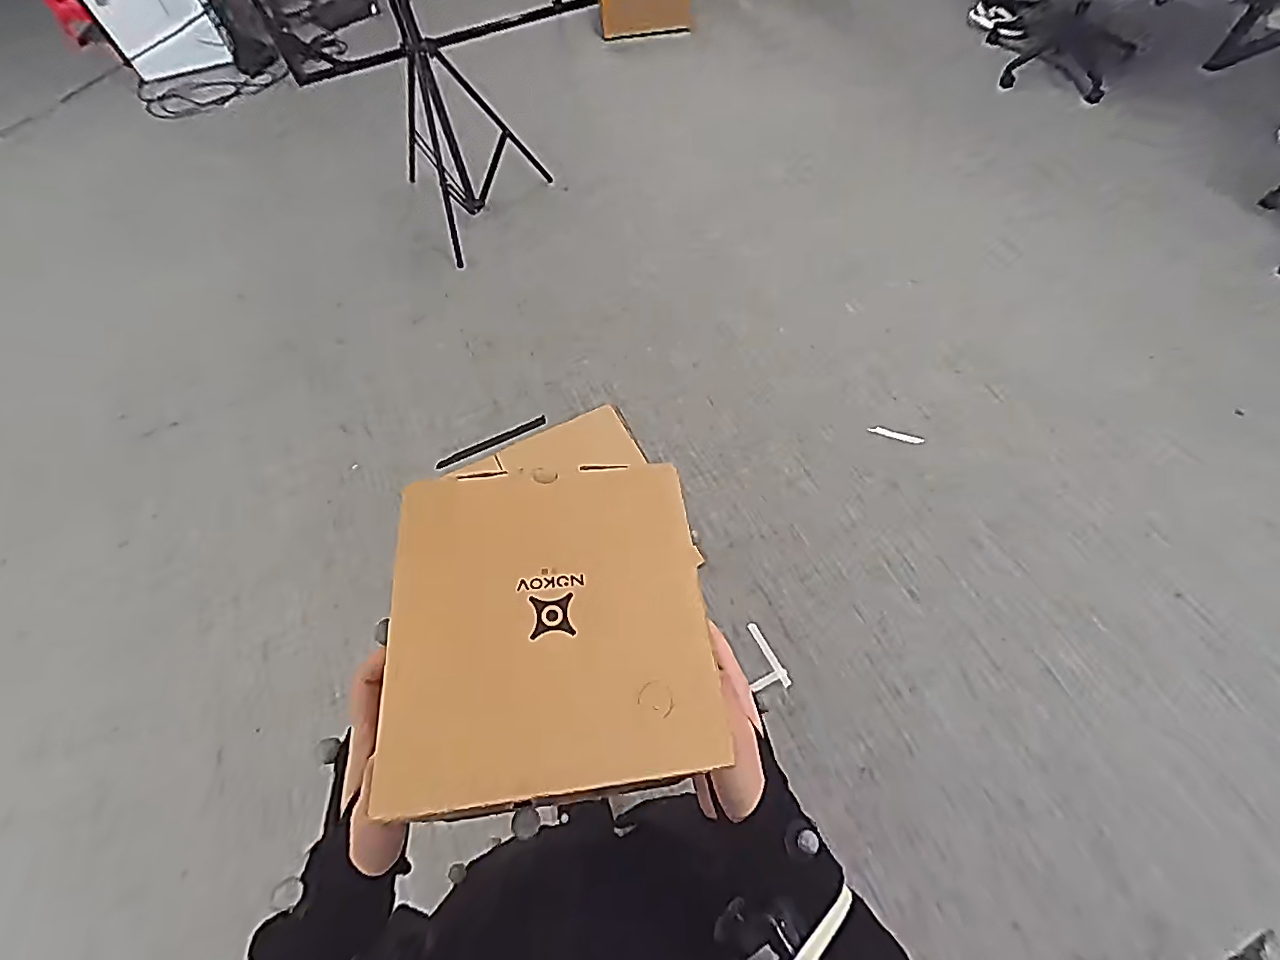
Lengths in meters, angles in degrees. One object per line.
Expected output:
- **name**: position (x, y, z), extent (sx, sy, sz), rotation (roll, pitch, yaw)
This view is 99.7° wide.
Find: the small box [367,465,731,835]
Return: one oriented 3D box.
- **small box**: position (-0.054, 0.112, 0.349), extent (0.168, 0.176, 0.179), rotation (-5, 58, -9)
